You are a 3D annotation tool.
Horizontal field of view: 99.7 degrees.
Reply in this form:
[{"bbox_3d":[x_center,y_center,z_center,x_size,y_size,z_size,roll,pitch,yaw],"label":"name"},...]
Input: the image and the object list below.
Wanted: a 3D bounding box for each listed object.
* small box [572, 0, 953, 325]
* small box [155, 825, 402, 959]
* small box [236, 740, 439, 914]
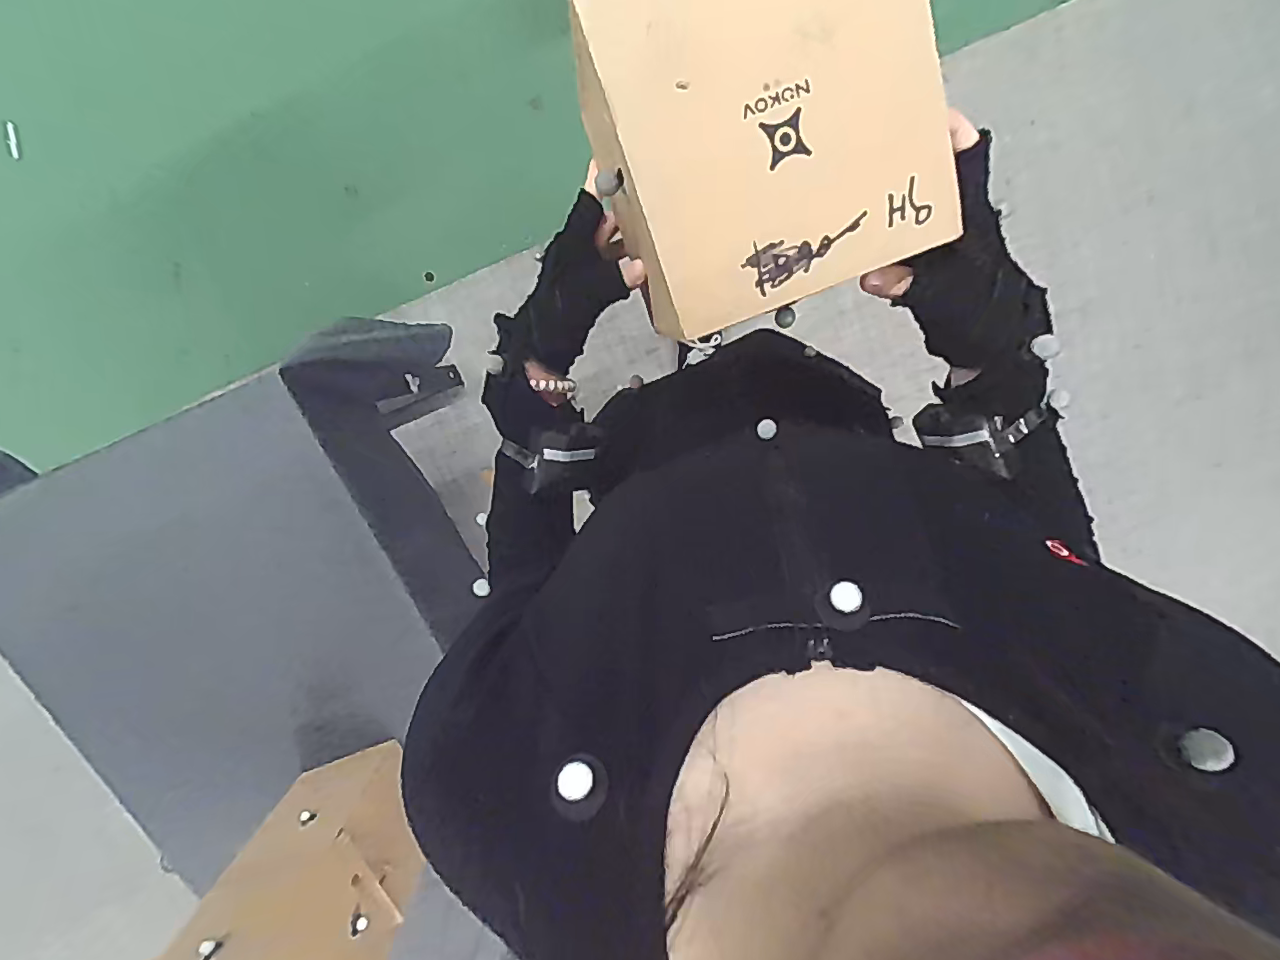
[{"bbox_3d":[0.064,-0.213,0.358,0.168,0.176,0.179,-21,106,3],"label":"small box"},{"bbox_3d":[-0.425,0.559,0.641,0.179,0.176,0.168,-22,102,5],"label":"small box"},{"bbox_3d":[-0.423,0.521,0.798,0.179,0.176,0.168,-22,103,7],"label":"small box"}]
